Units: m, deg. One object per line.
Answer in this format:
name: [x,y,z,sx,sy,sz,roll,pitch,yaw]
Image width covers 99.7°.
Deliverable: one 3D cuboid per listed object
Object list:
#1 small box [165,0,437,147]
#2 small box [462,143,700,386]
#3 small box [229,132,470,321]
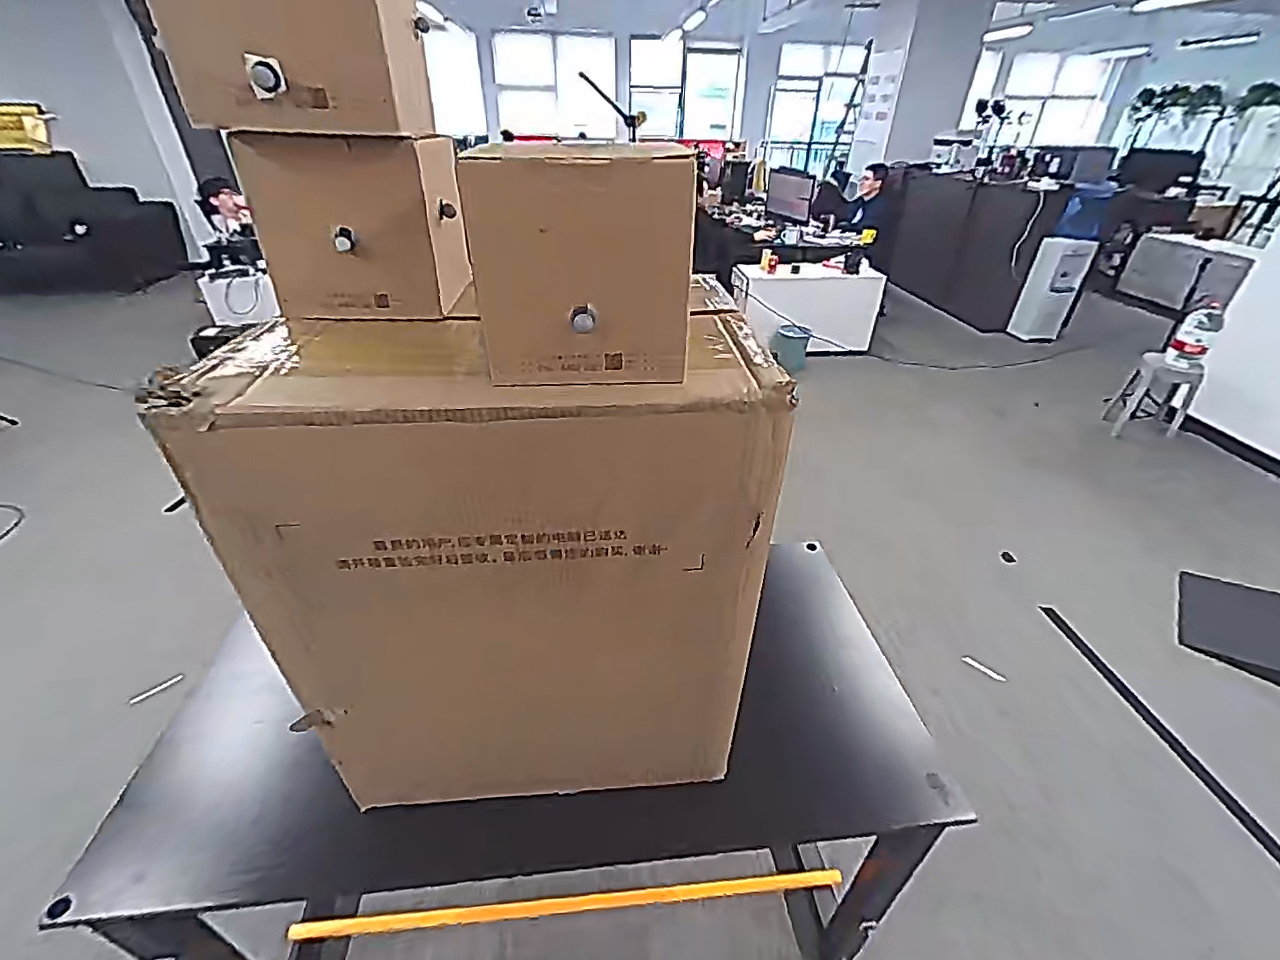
small box: [-0.286,-0.397,0.474,0.168,0.176,0.179,-4,34,-7]
small box: [-0.044,-0.194,0.478,0.168,0.176,0.179,-2,35,-2]
small box: [-0.290,-0.280,0.593,0.168,0.176,0.179,-1,34,-6]
